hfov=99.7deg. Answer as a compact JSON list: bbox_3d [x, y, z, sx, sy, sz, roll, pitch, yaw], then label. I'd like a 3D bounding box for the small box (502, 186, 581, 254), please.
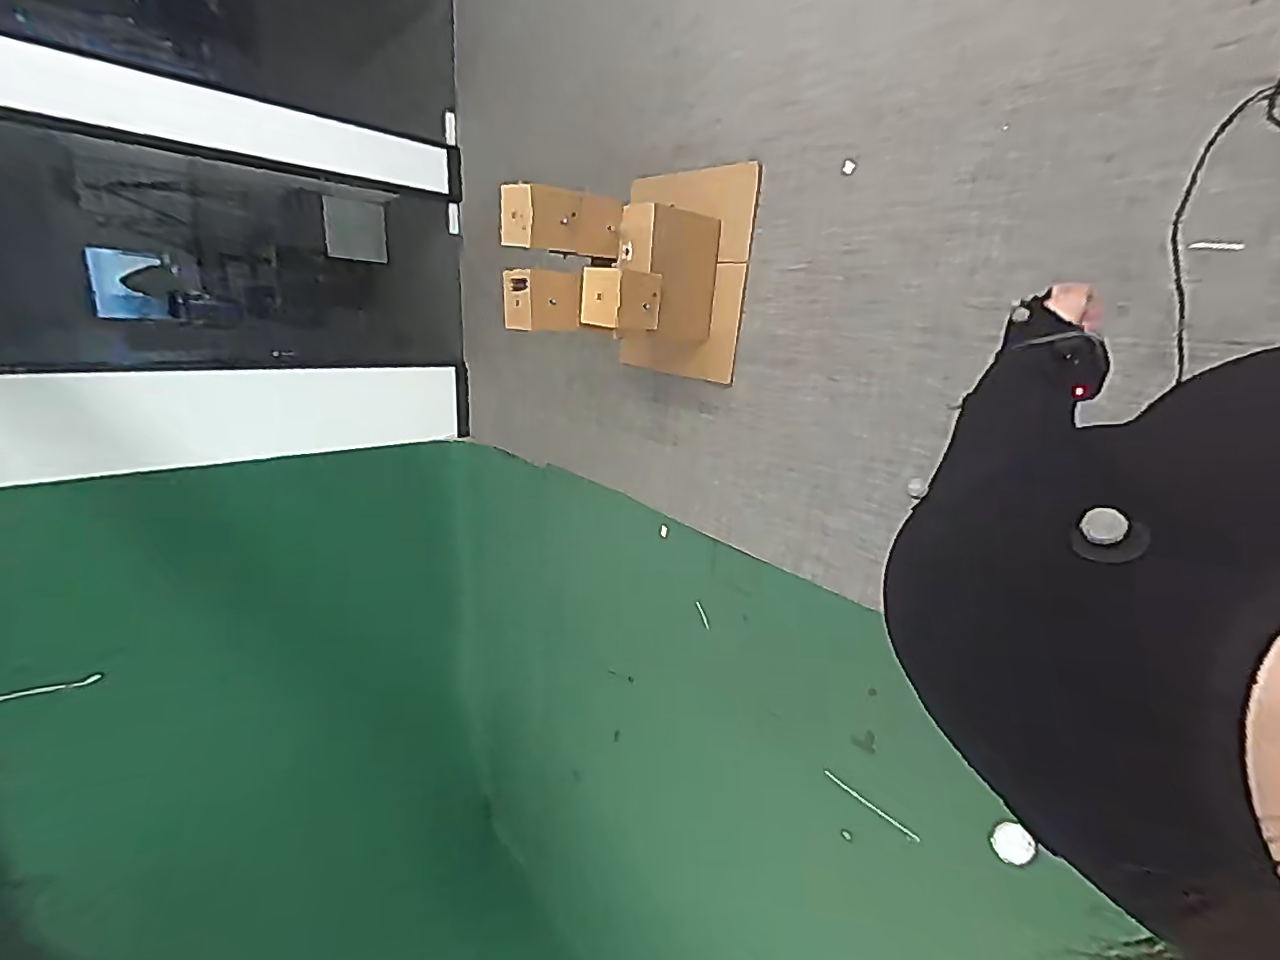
[{"bbox_3d":[-0.298,-0.777,1.621,0.179,0.176,0.168,27,120,42],"label":"small box"}]

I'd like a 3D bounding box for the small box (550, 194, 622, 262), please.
[{"bbox_3d":[-0.172,-0.802,1.728,0.168,0.176,0.179,26,120,43],"label":"small box"}]
